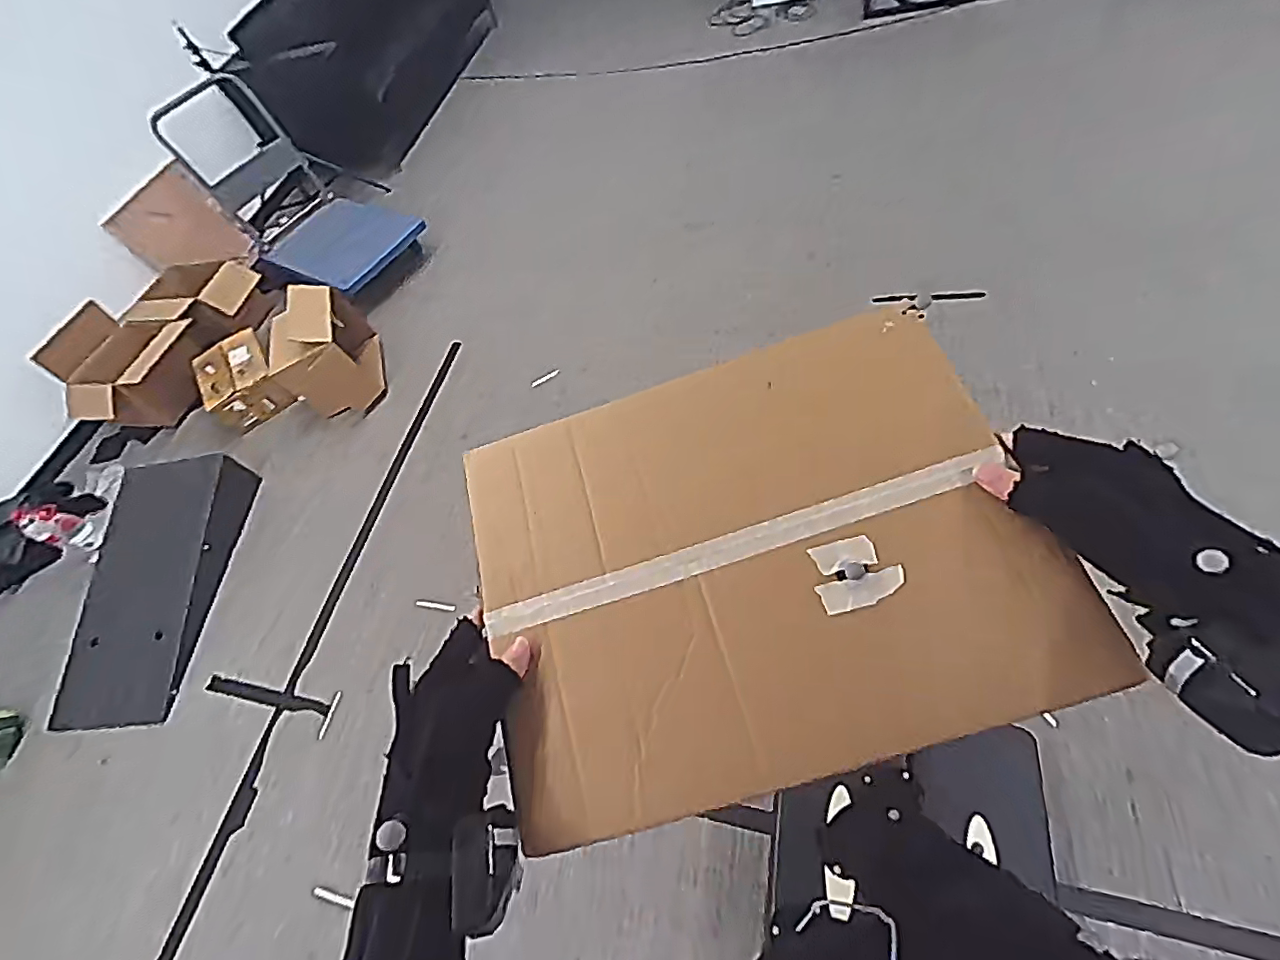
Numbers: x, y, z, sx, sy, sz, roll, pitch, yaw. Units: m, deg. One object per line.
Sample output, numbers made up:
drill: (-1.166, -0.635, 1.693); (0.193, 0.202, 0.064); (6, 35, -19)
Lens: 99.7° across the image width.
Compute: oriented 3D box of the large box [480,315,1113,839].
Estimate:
large box: (0.106, 0.108, 0.553); (0.408, 0.320, 0.320); (-19, 66, 4)

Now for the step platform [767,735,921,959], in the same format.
step platform: (0.448, 0.789, 1.213); (0.286, 0.204, 0.684); (2, 59, 16)
